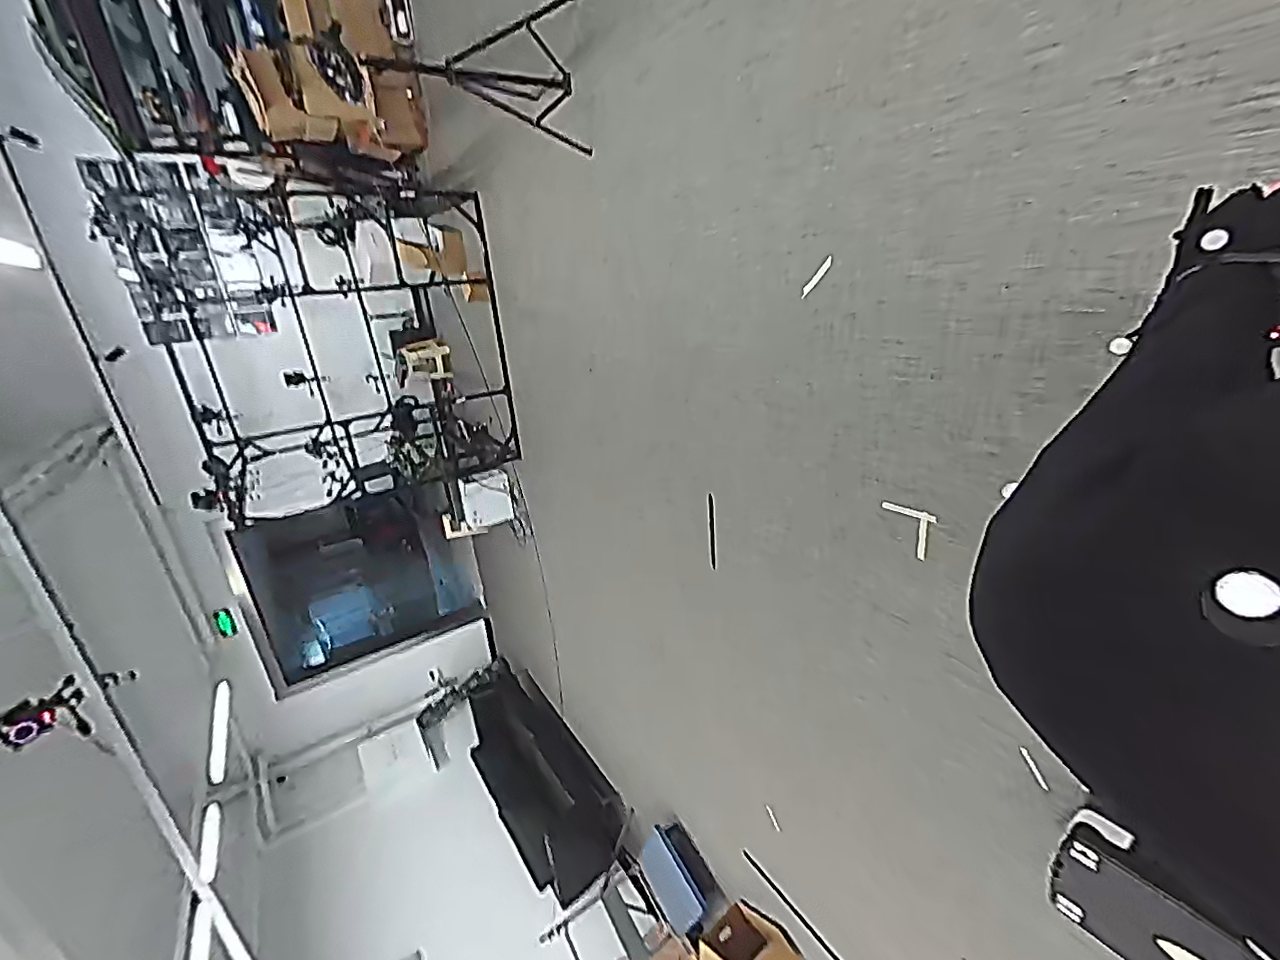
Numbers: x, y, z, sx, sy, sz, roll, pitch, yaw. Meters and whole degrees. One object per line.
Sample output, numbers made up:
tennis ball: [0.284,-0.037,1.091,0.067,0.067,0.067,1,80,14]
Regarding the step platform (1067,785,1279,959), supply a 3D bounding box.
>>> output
step platform: [1.329,1.004,1.129,0.684,0.204,0.286,26,126,54]
